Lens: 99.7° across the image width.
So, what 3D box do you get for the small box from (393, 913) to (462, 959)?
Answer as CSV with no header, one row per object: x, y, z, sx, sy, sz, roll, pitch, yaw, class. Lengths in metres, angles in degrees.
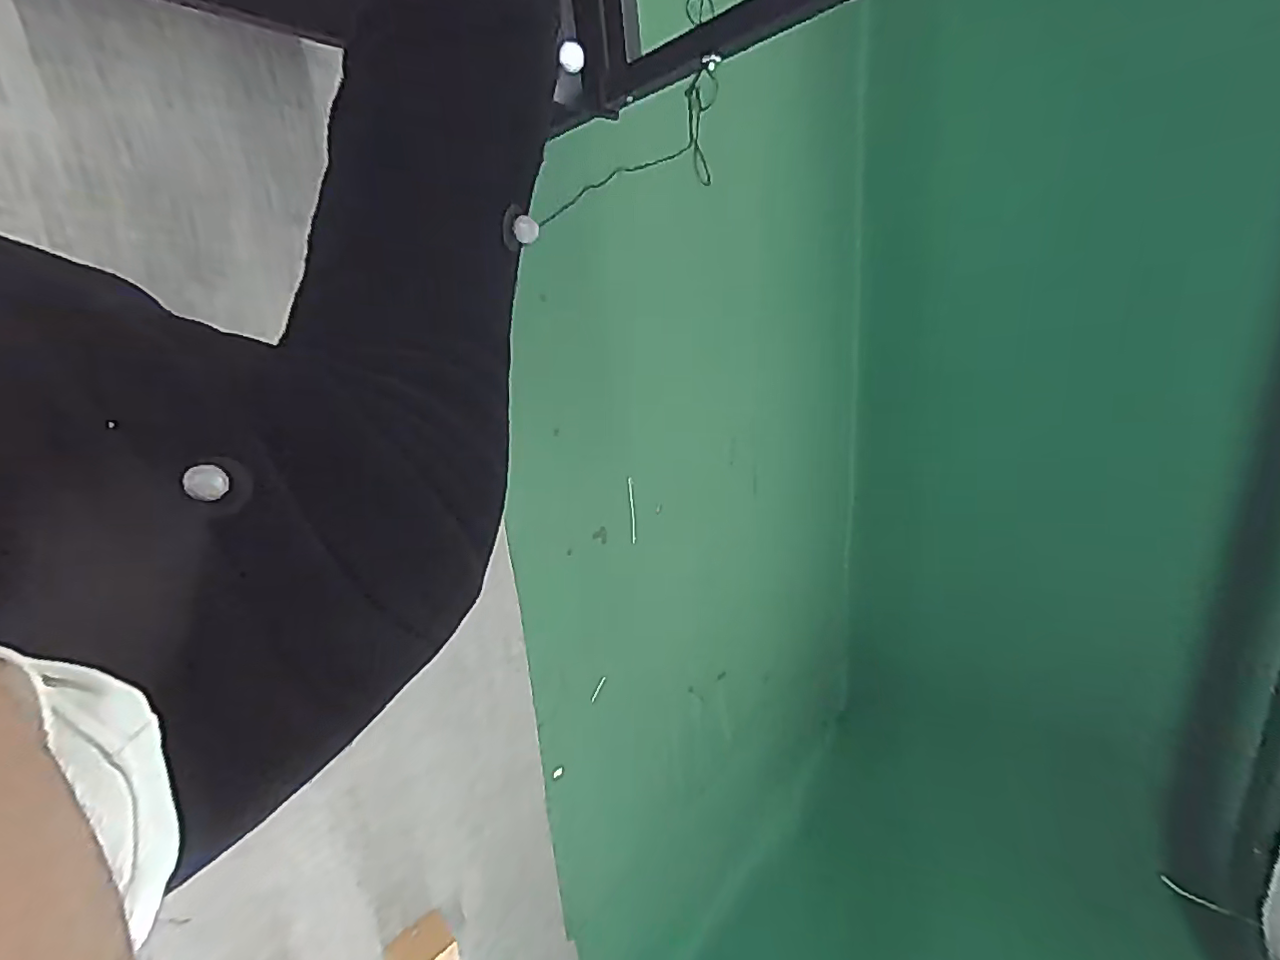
-0.730,1.661,1.857,0.179,0.176,0.168,-15,108,-44,small box
